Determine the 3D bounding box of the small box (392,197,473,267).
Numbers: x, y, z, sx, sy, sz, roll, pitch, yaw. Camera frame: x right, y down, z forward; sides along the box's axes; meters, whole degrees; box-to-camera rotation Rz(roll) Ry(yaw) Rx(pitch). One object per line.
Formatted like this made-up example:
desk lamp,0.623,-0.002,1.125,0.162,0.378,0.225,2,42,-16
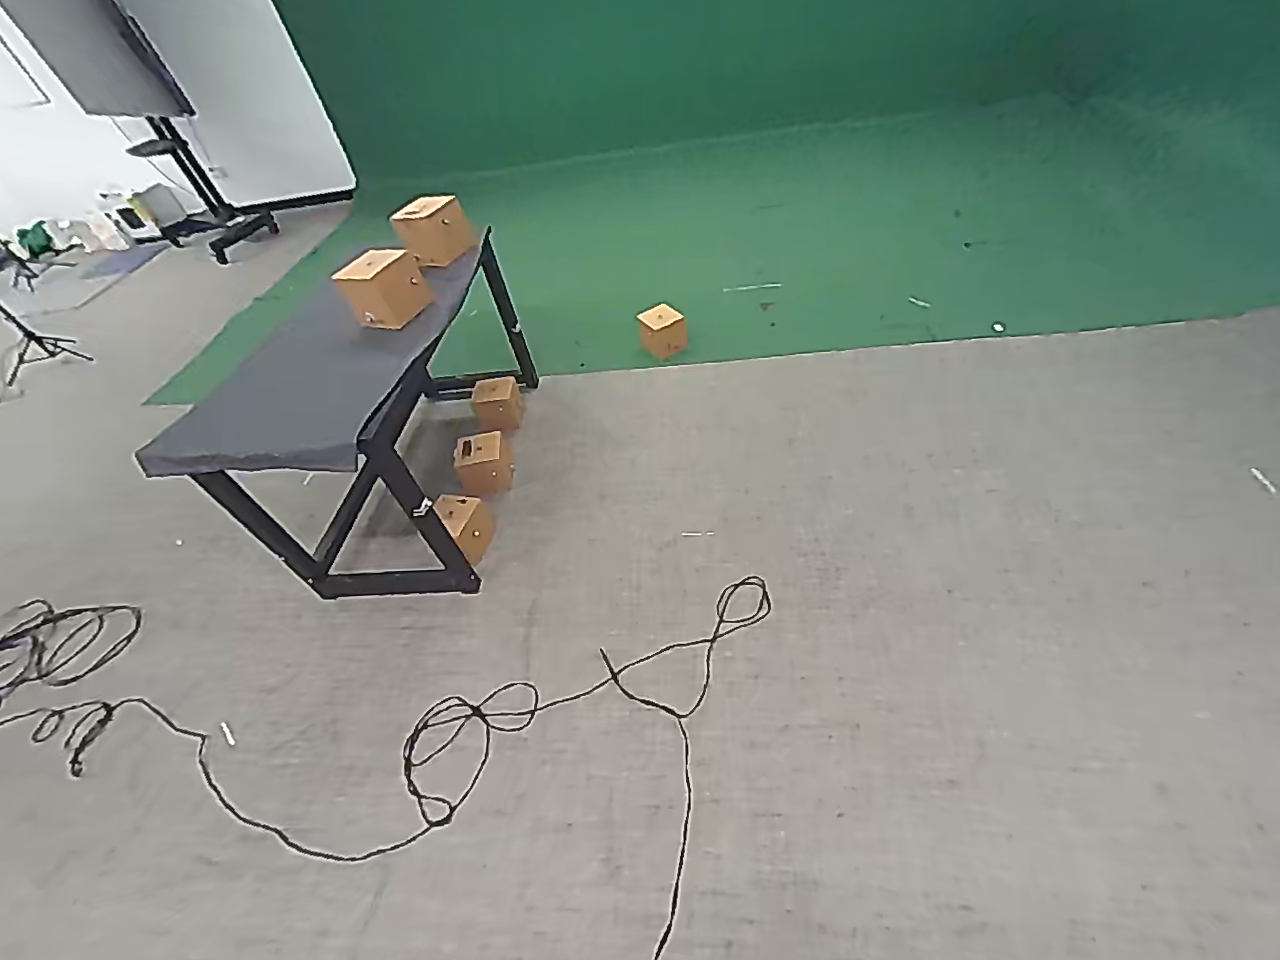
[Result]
small box,-0.720,-0.869,1.902,0.168,0.176,0.179,11,52,24

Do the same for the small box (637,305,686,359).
small box,0.104,-0.714,2.609,0.168,0.176,0.179,-29,49,-16

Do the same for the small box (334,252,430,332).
small box,-0.769,-0.572,1.643,0.168,0.176,0.179,10,52,24

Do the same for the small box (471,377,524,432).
small box,-0.624,-0.332,2.393,0.179,0.176,0.168,-7,46,5

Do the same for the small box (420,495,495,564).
small box,-0.639,0.179,1.923,0.168,0.176,0.179,6,50,16
